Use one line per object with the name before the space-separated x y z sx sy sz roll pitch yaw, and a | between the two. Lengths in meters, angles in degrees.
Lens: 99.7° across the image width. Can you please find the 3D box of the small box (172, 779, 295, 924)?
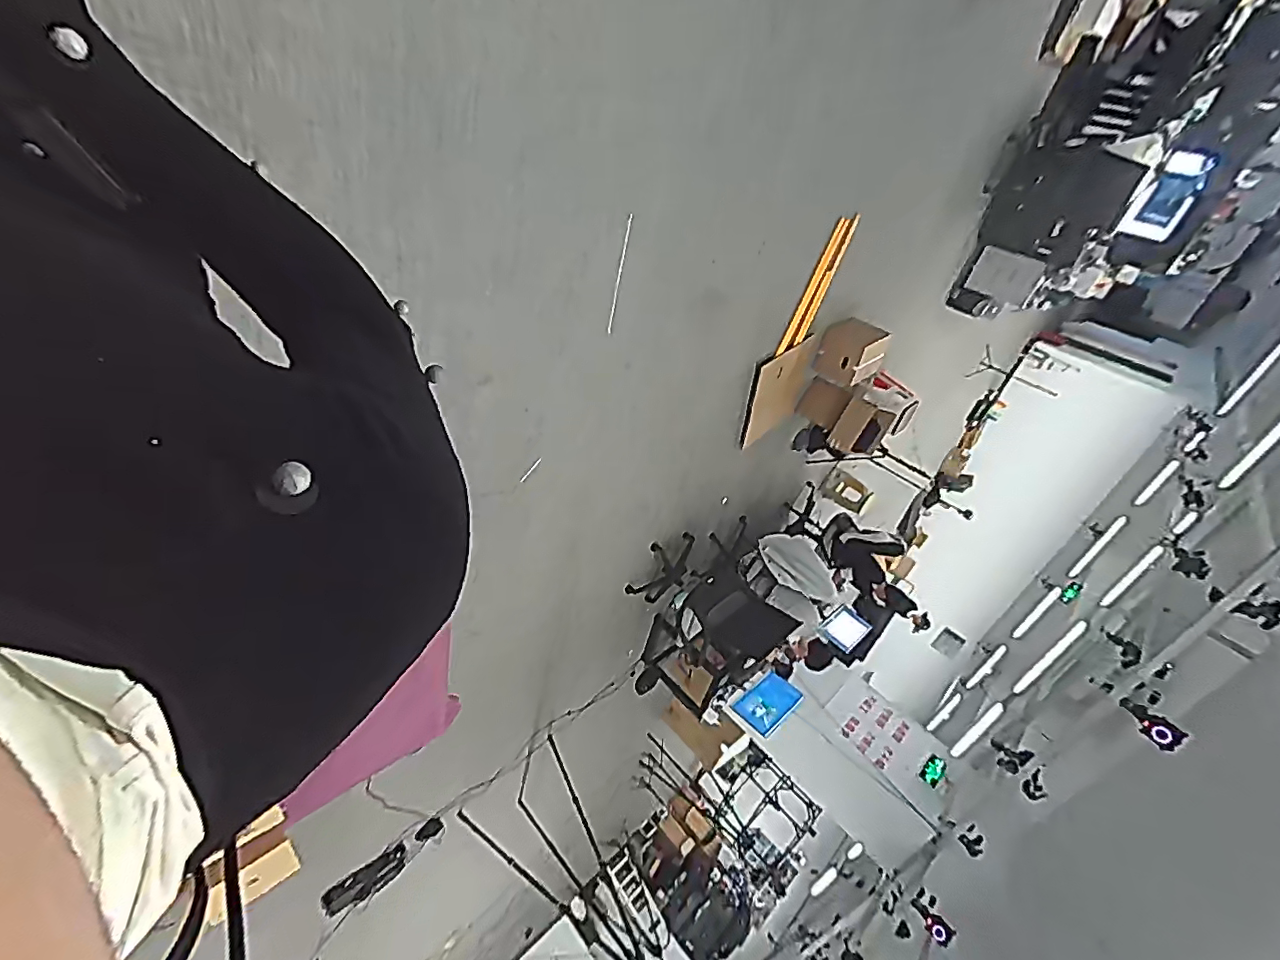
small box | -0.909 0.822 1.209 0.179 0.176 0.168 -22 139 -41
